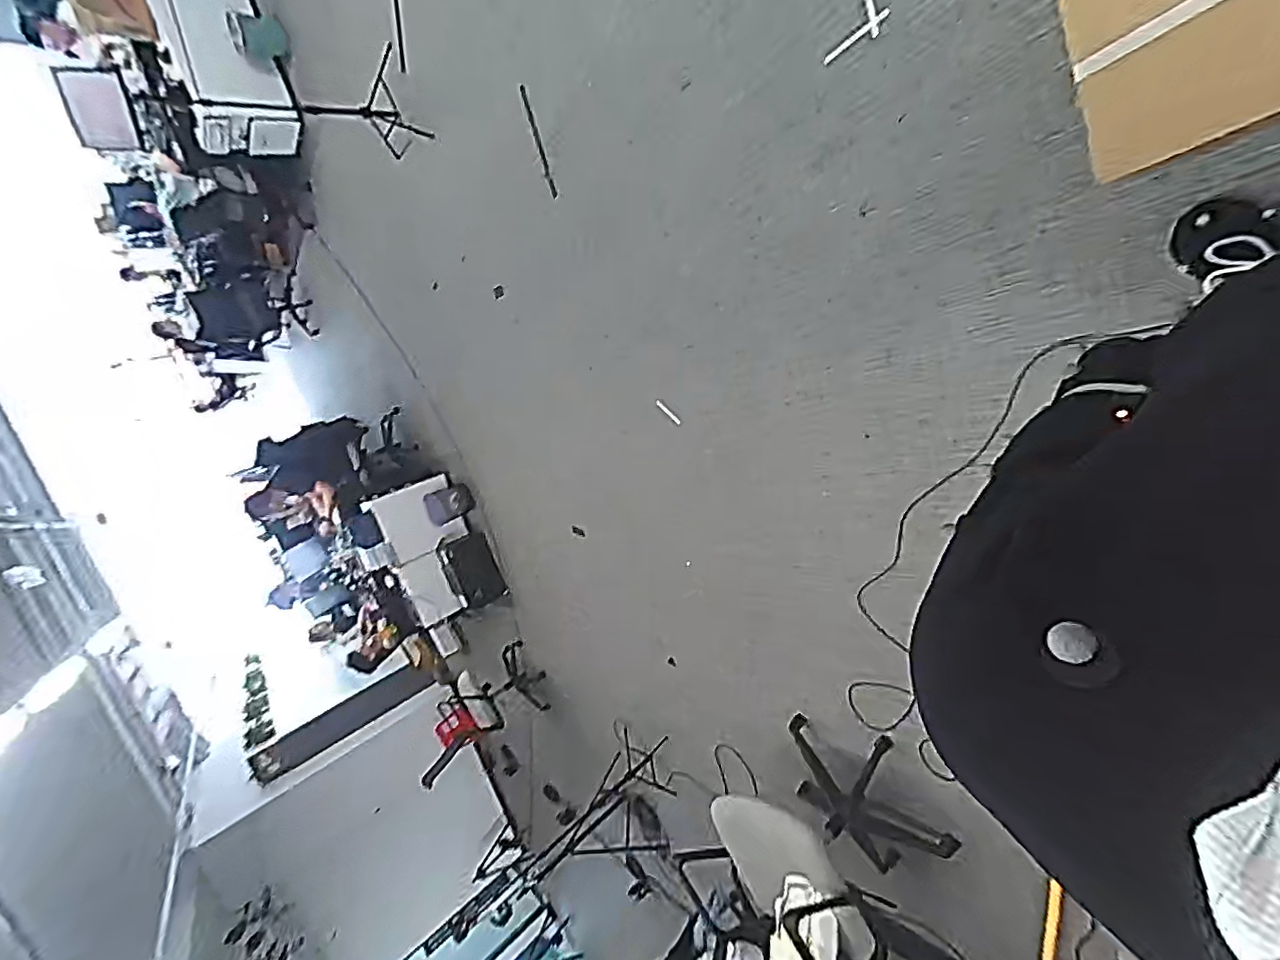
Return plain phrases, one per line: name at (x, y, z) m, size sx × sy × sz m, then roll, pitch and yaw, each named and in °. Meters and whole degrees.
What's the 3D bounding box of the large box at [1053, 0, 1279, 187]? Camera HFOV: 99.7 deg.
large box at (0.837, -0.635, 0.692) m, size 0.408 × 0.320 × 0.320 m, roll -9°, pitch 104°, yaw 53°
